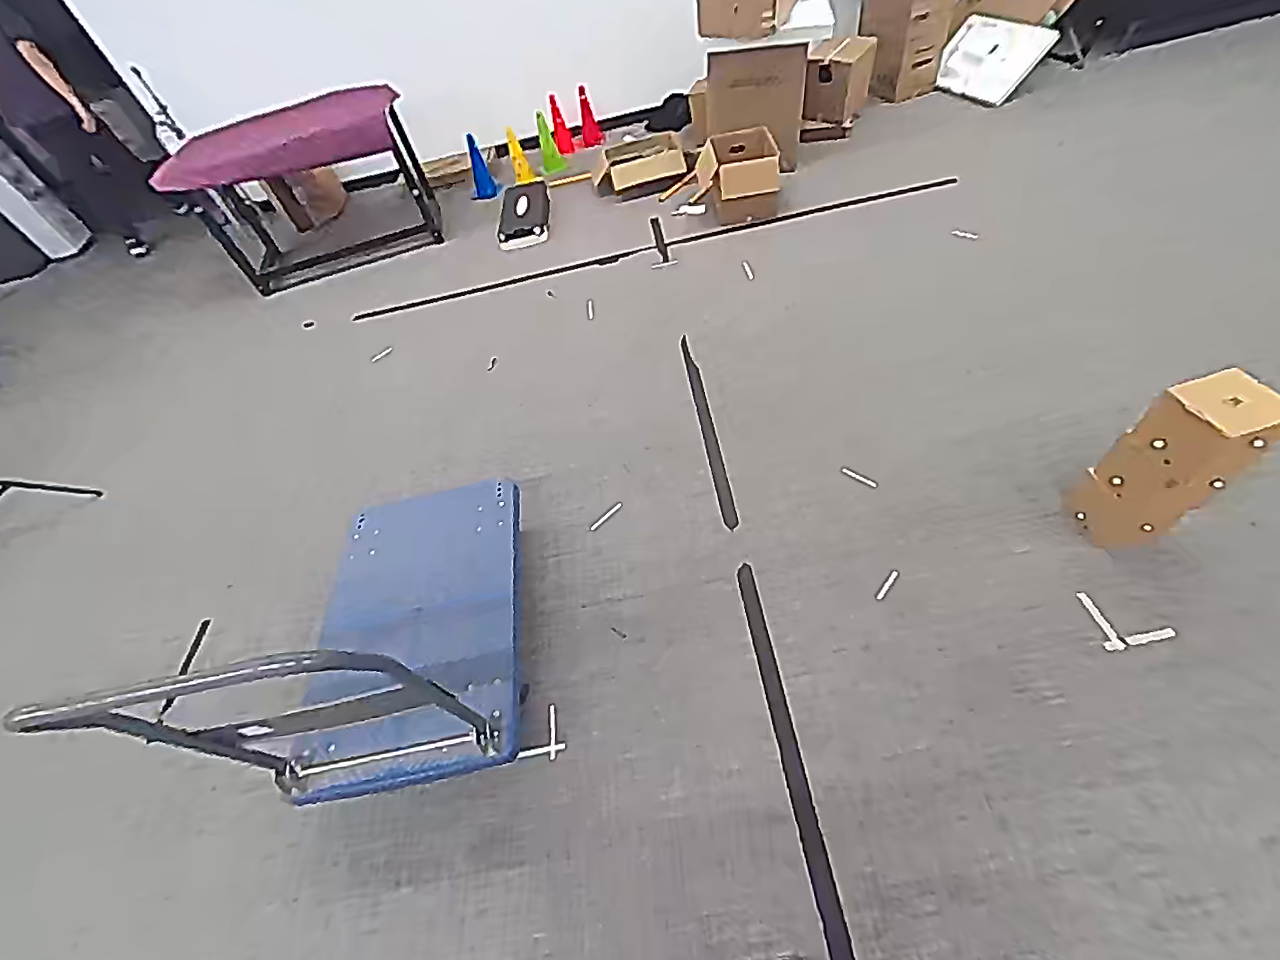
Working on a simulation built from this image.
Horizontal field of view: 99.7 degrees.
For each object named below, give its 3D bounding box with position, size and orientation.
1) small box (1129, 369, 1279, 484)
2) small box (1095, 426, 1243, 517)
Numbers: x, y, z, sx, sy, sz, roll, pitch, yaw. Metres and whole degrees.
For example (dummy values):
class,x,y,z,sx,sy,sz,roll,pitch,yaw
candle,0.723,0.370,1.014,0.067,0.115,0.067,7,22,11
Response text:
class,x,y,z,sx,sy,sz,roll,pitch,yaw
small box,1.290,-0.118,1.231,0.179,0.176,0.168,-18,50,-1
small box,1.316,-0.027,1.364,0.179,0.176,0.168,-9,49,6
